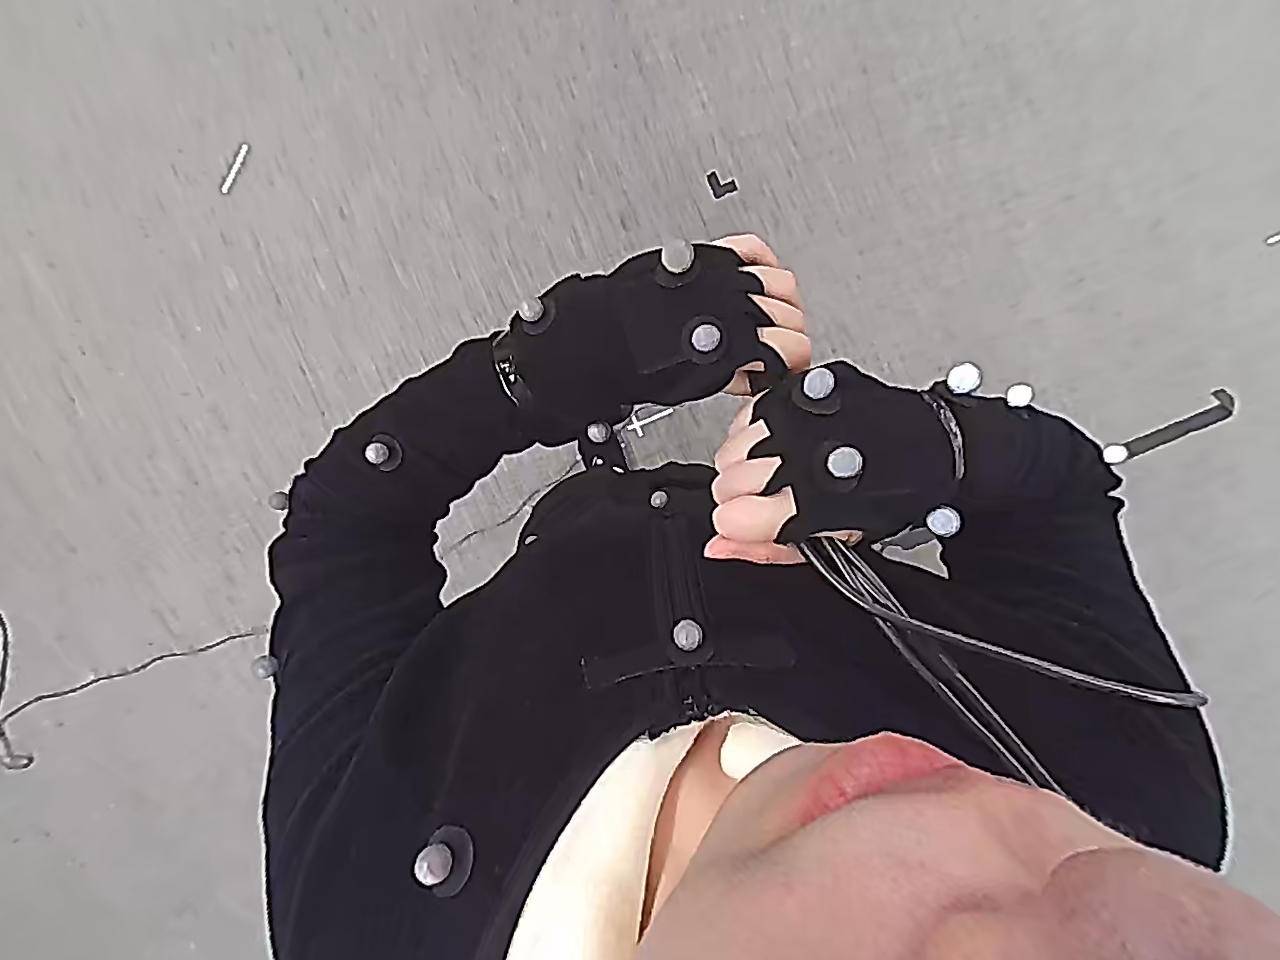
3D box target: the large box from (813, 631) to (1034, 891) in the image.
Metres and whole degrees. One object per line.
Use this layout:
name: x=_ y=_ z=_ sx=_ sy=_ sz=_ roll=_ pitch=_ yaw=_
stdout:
large box: x=0.627 y=0.613 z=1.246 sx=0.320 sy=0.320 sz=0.408 roll=-9 pitch=94 yaw=-3
